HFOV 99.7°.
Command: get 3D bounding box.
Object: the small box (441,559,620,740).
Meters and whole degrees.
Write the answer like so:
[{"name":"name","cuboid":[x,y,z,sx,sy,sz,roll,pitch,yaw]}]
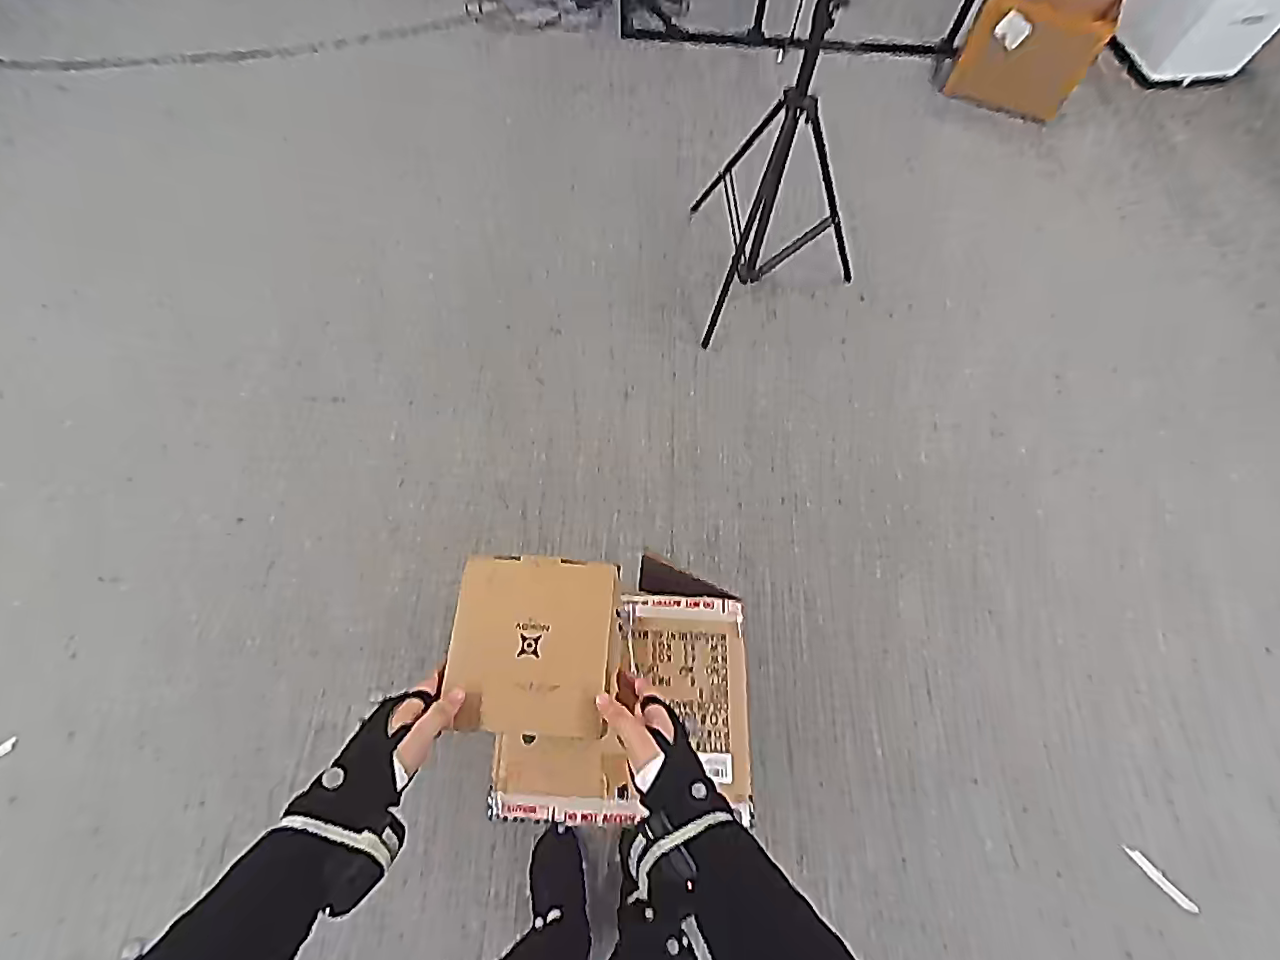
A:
[{"name":"small box","cuboid":[-0.112,0.202,0.638,0.168,0.176,0.179,3,68,2]}]
